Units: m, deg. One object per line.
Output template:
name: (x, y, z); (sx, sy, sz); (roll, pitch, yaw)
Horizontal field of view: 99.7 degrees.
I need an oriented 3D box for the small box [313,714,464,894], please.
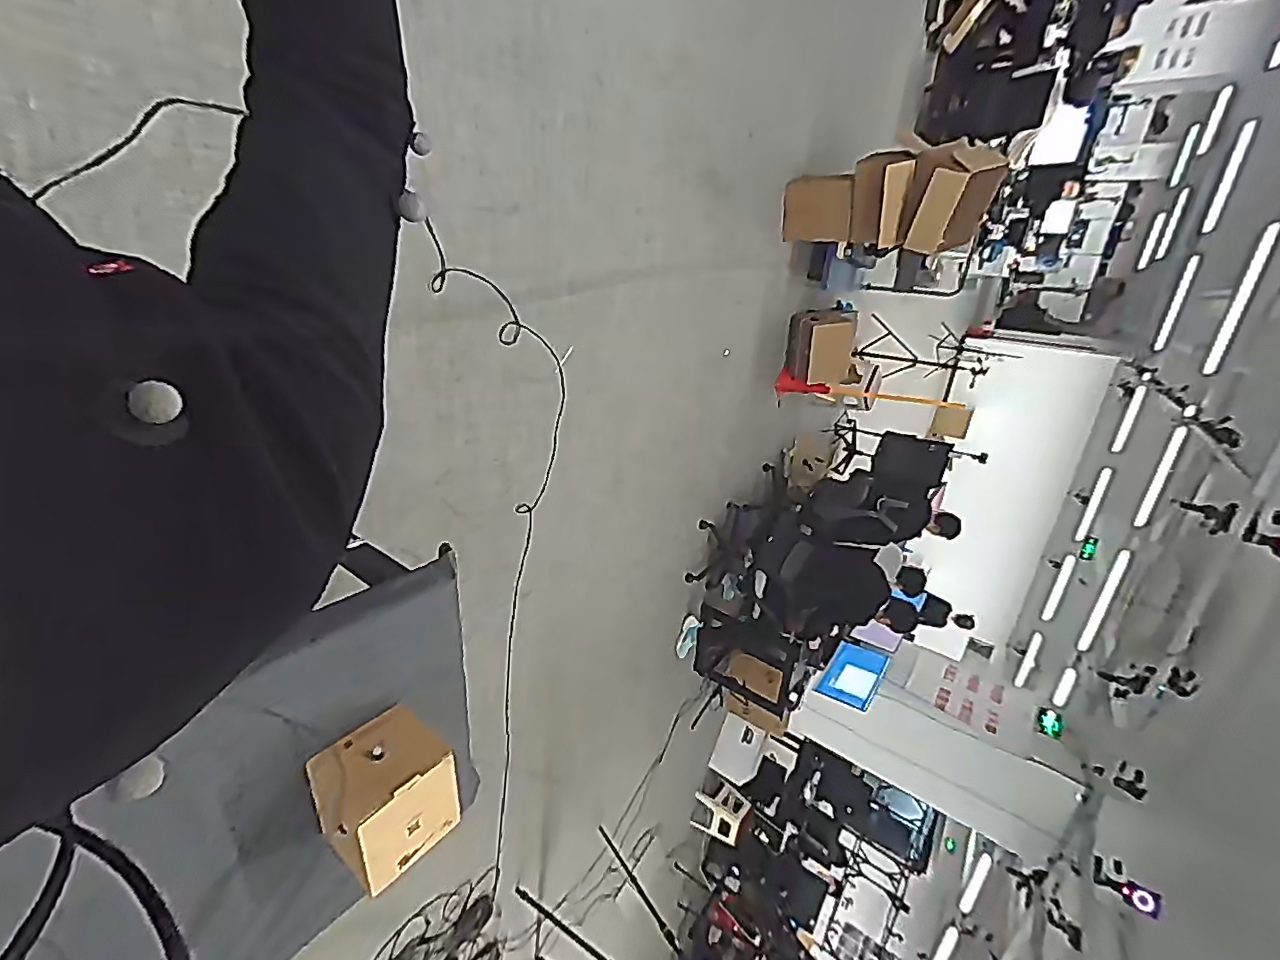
small box: (-0.426, 0.532, 0.920); (0.168, 0.176, 0.179); (-25, 125, -48)
